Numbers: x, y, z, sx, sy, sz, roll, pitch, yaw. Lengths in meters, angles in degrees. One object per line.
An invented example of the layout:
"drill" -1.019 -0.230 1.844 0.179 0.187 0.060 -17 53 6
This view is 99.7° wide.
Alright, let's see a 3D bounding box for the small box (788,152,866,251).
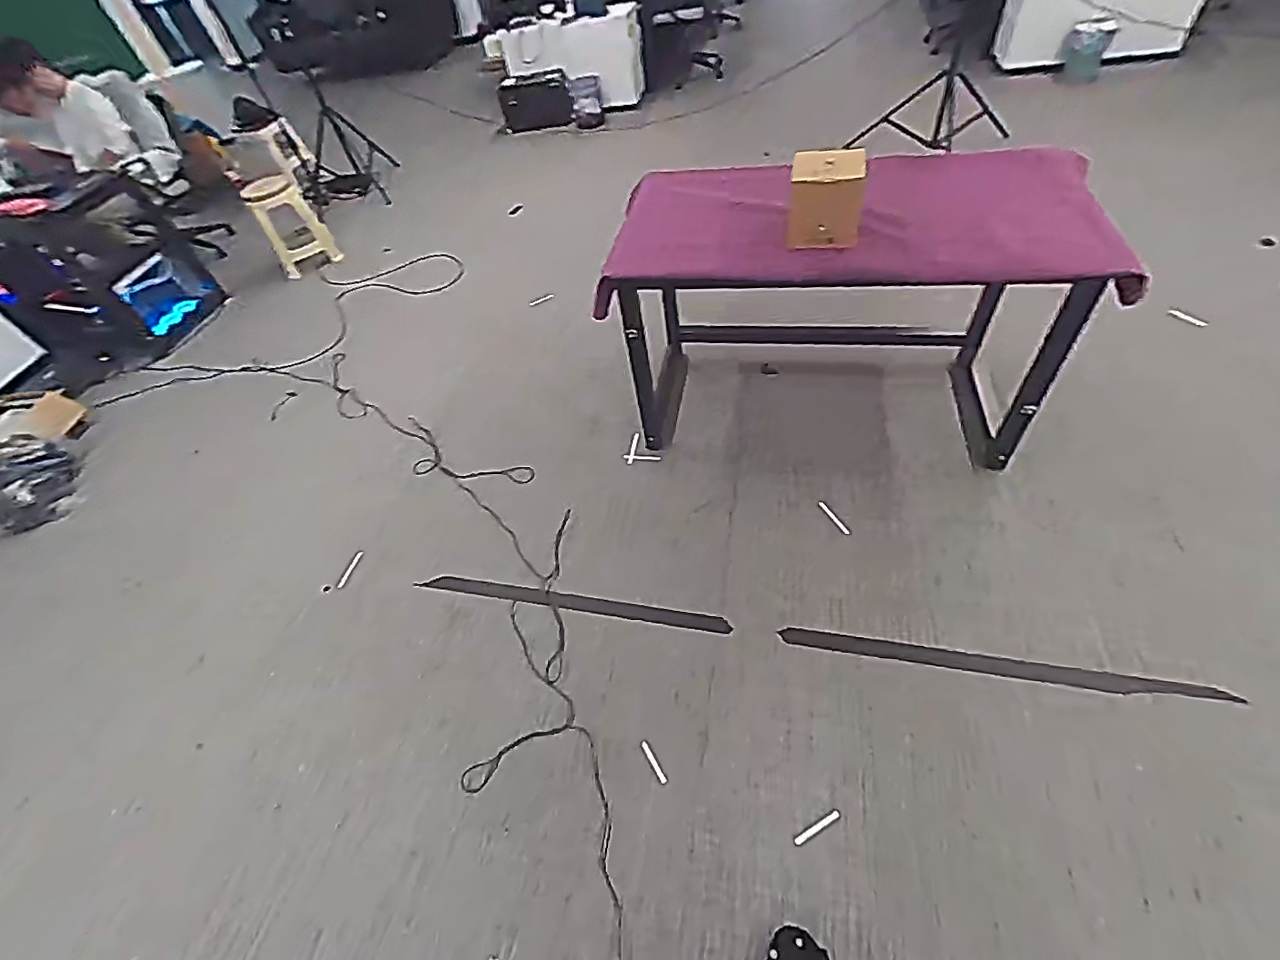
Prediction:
"small box" 0.469 -0.702 1.366 0.168 0.176 0.179 6 52 16
